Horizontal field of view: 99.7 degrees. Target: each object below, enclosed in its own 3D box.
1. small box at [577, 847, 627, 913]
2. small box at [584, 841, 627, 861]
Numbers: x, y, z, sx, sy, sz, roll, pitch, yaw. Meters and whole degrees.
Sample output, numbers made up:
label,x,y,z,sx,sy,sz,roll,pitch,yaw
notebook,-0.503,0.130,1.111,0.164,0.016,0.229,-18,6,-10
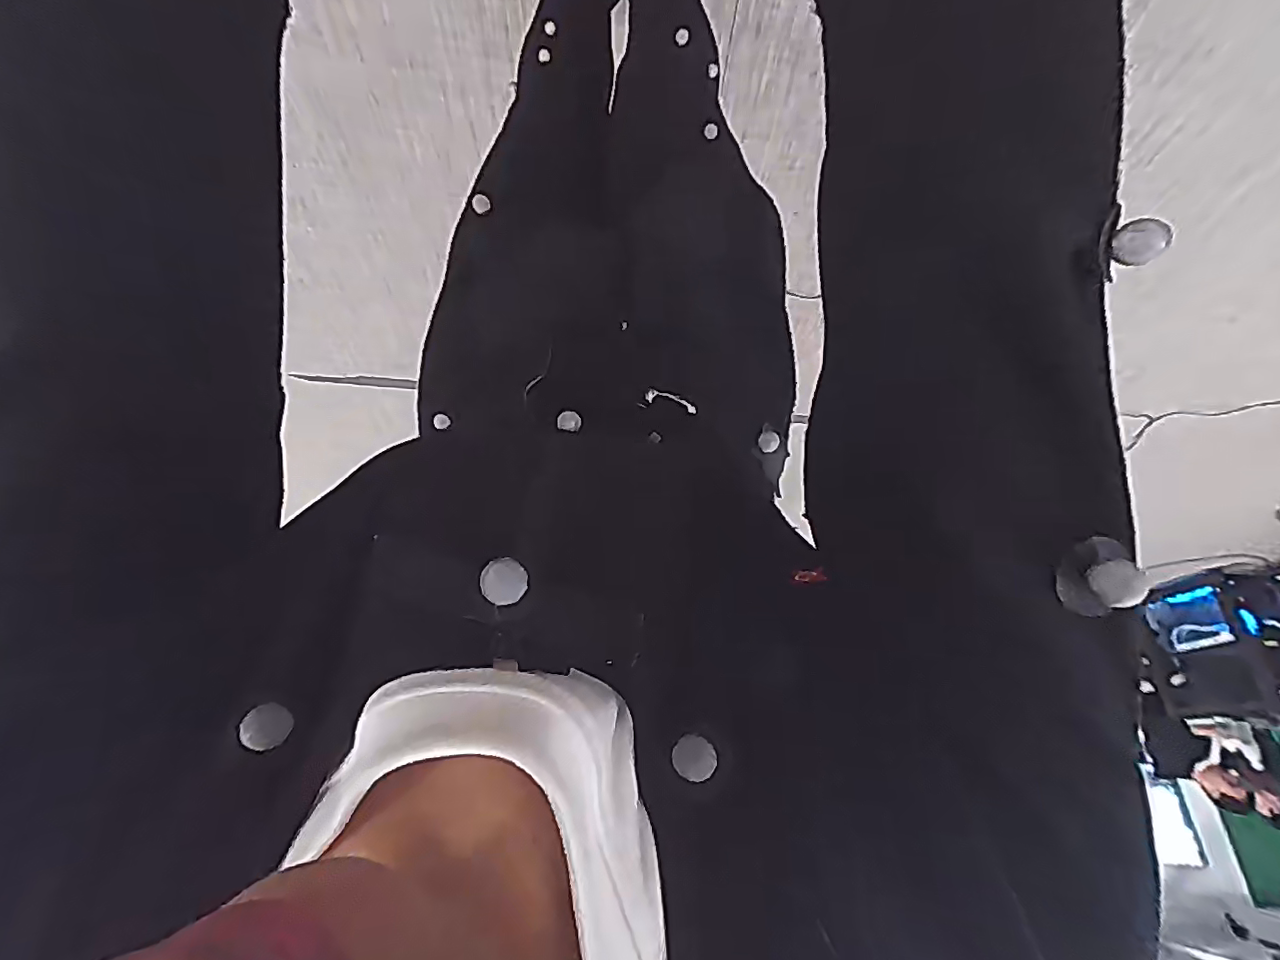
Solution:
label,x,y,z,sx,sy,sz,roll,pitch,yaw
small box,-0.134,1.418,1.919,0.168,0.176,0.179,4,151,-4
small box,-0.142,1.517,2.110,0.168,0.176,0.179,4,152,-4
